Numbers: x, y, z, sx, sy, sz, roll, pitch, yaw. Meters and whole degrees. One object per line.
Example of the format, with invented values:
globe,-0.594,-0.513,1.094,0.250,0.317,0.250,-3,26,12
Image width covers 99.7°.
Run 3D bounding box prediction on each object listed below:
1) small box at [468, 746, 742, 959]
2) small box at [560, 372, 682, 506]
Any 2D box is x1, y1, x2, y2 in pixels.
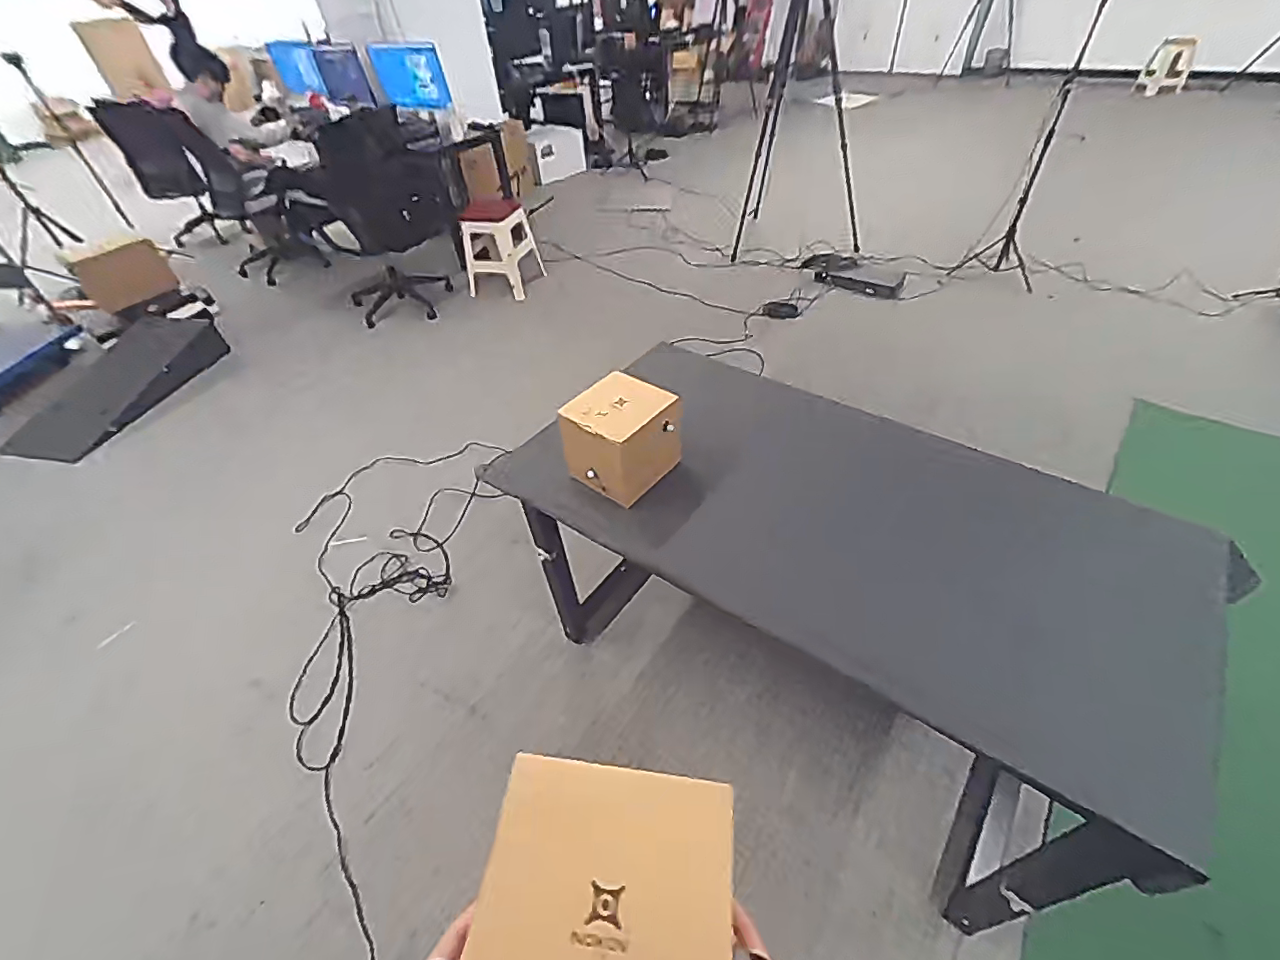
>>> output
small box,-0.024,0.325,0.397,0.168,0.176,0.179,7,46,1
small box,-0.034,-0.083,1.076,0.168,0.176,0.179,29,52,29
